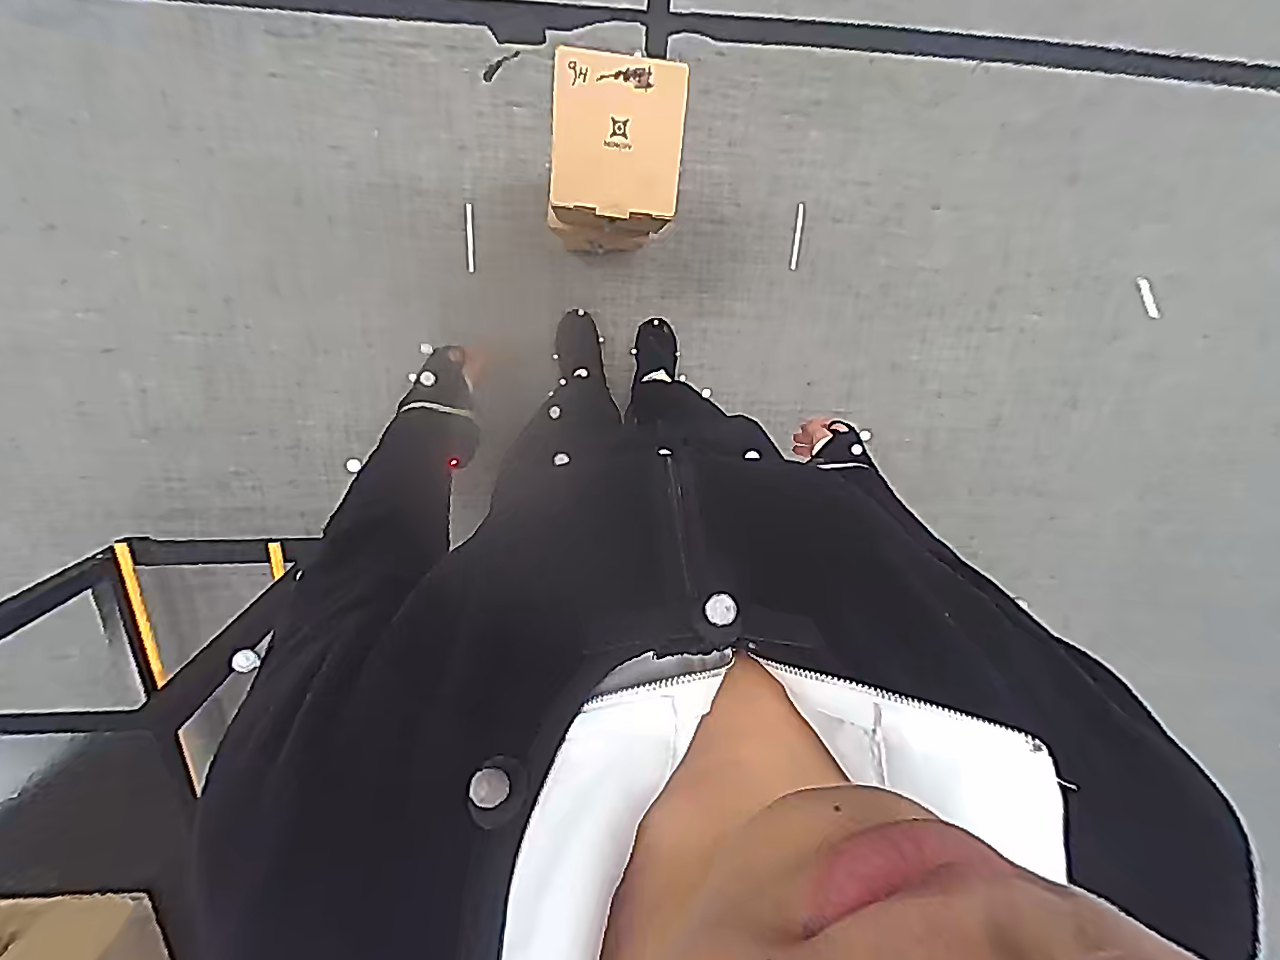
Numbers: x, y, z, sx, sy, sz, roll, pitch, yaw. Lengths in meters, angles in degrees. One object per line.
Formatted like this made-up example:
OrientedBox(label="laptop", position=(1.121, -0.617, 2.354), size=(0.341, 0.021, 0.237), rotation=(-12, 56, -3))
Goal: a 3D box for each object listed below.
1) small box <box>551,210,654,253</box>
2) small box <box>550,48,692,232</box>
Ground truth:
OrientedBox(label="small box", position=(-0.055, -0.491, 0.908), size=(0.168, 0.176, 0.179), rotation=(7, 109, -7))
OrientedBox(label="small box", position=(-0.030, -0.451, 0.749), size=(0.168, 0.176, 0.179), rotation=(4, 109, -6))
